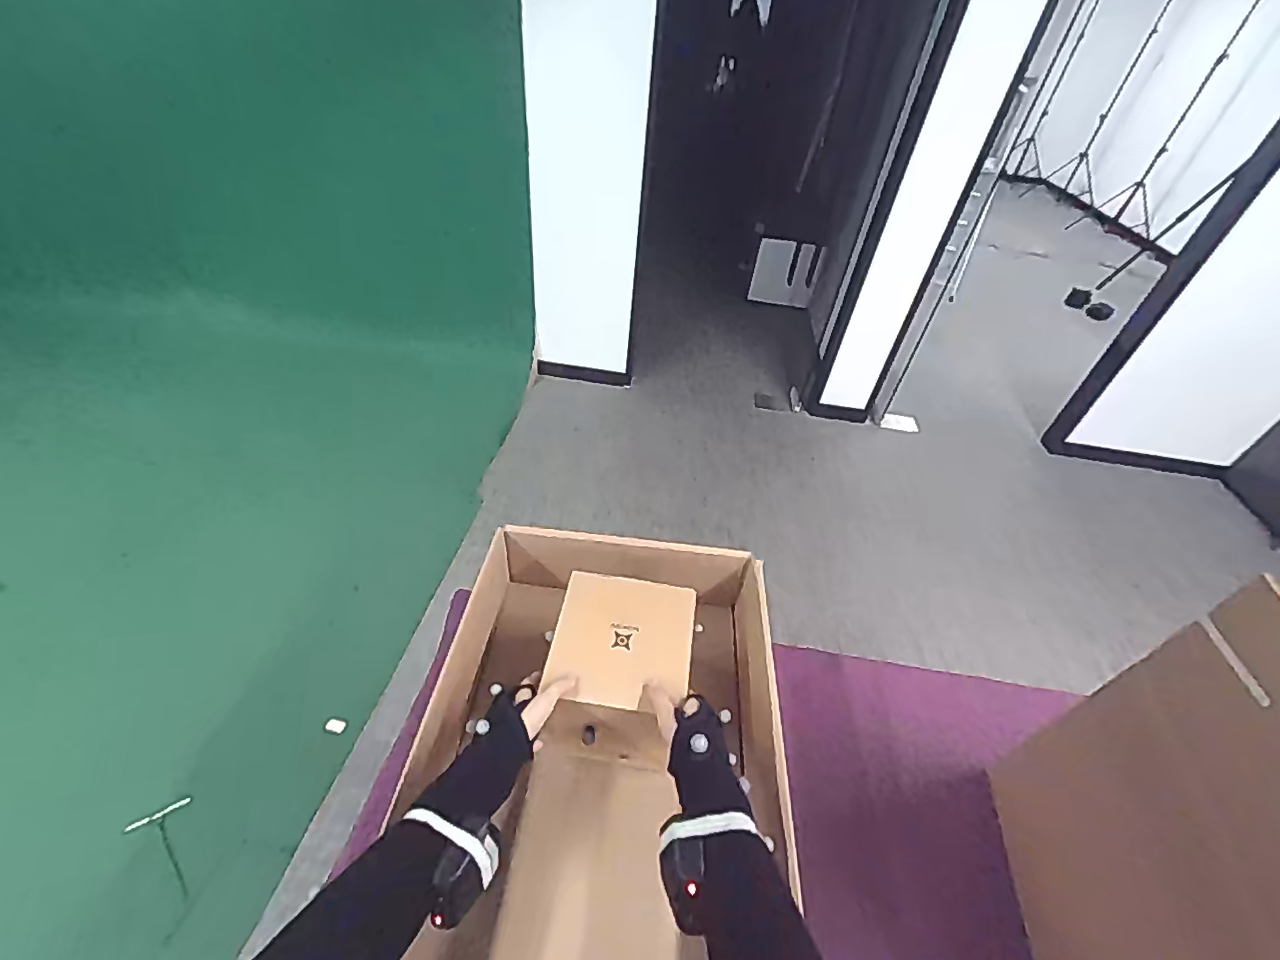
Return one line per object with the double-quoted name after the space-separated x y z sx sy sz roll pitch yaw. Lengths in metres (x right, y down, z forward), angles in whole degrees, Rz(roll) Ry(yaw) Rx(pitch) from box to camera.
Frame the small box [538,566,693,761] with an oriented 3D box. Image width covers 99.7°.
-0.026 0.242 0.708 0.168 0.176 0.179 8 43 3 "small box"
